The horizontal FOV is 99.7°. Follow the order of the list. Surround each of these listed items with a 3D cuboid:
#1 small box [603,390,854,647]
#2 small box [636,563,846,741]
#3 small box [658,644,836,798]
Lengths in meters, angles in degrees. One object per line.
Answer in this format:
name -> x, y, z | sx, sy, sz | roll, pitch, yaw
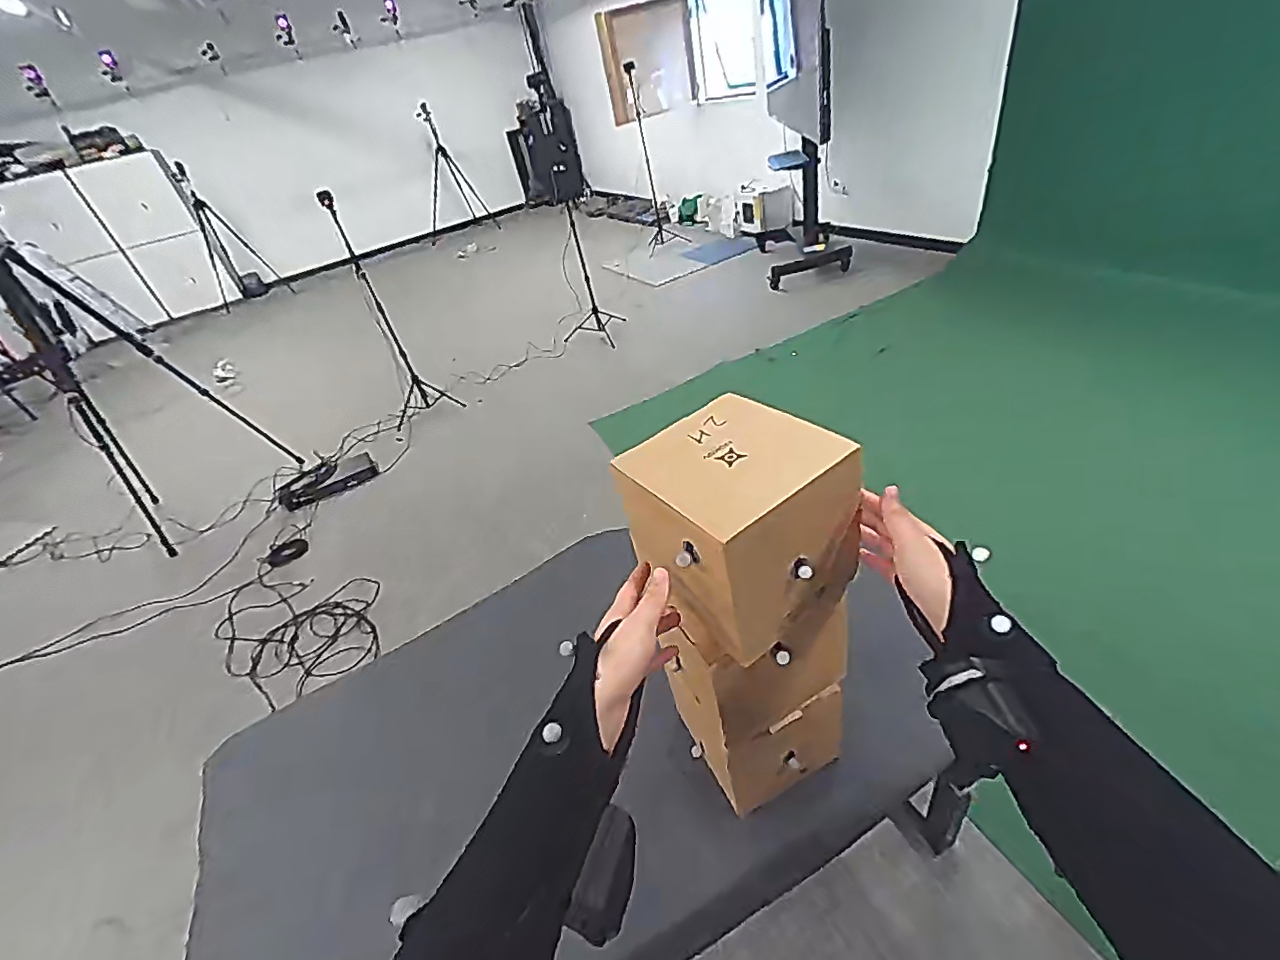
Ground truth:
small box -> 0.093, 0.039, 0.545 | 0.168, 0.176, 0.179 | -32, 38, -20
small box -> 0.120, 0.167, 0.646 | 0.179, 0.176, 0.168 | -27, 37, -13
small box -> 0.148, 0.298, 0.739 | 0.168, 0.176, 0.179 | -25, 37, -12
